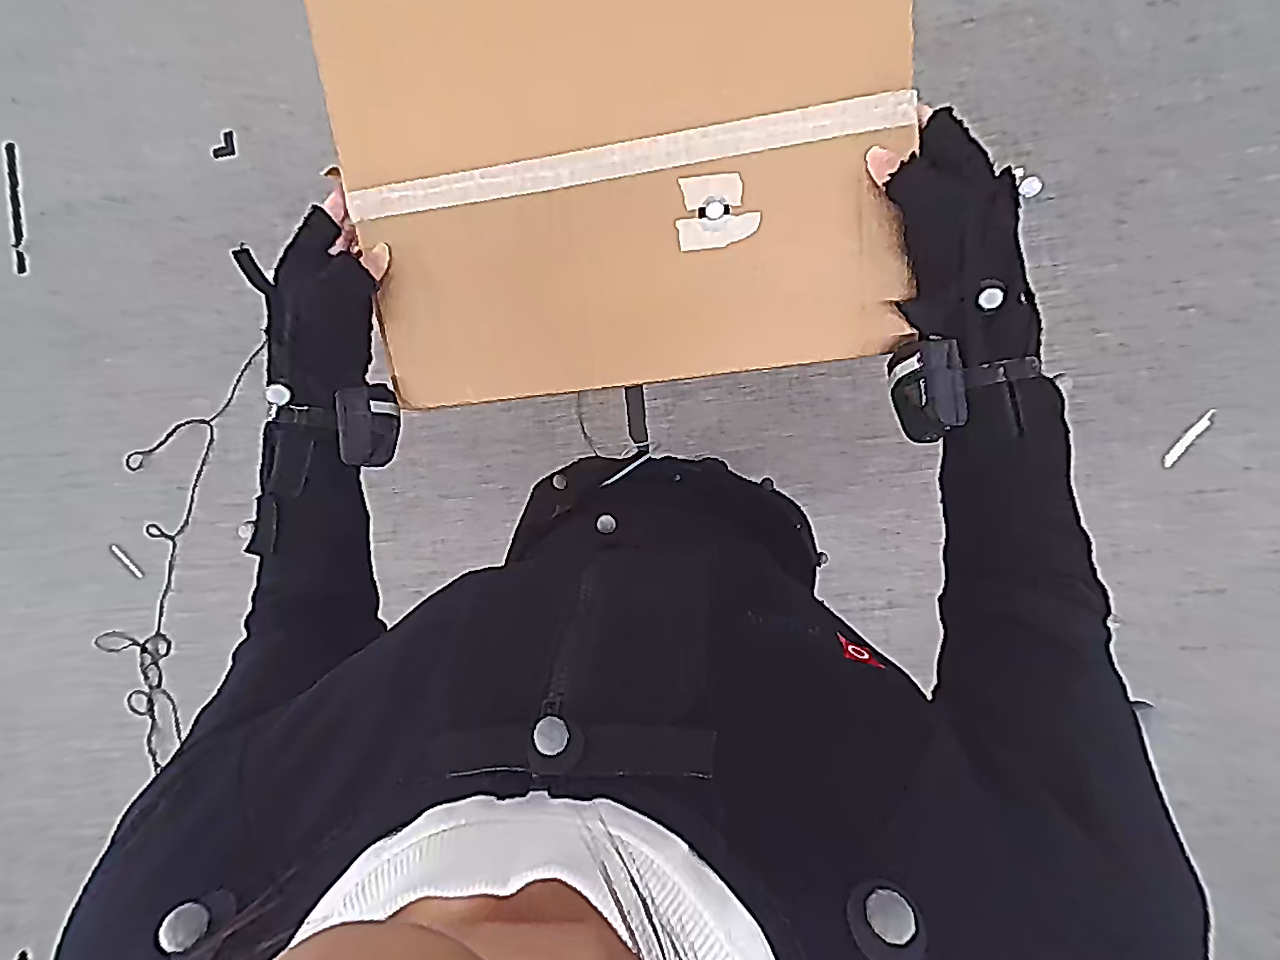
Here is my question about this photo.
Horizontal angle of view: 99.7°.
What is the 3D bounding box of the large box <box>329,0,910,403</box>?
[{"bbox_3d":[0.001,-0.269,0.542,0.408,0.320,0.320,-6,104,7],"label":"large box"}]
